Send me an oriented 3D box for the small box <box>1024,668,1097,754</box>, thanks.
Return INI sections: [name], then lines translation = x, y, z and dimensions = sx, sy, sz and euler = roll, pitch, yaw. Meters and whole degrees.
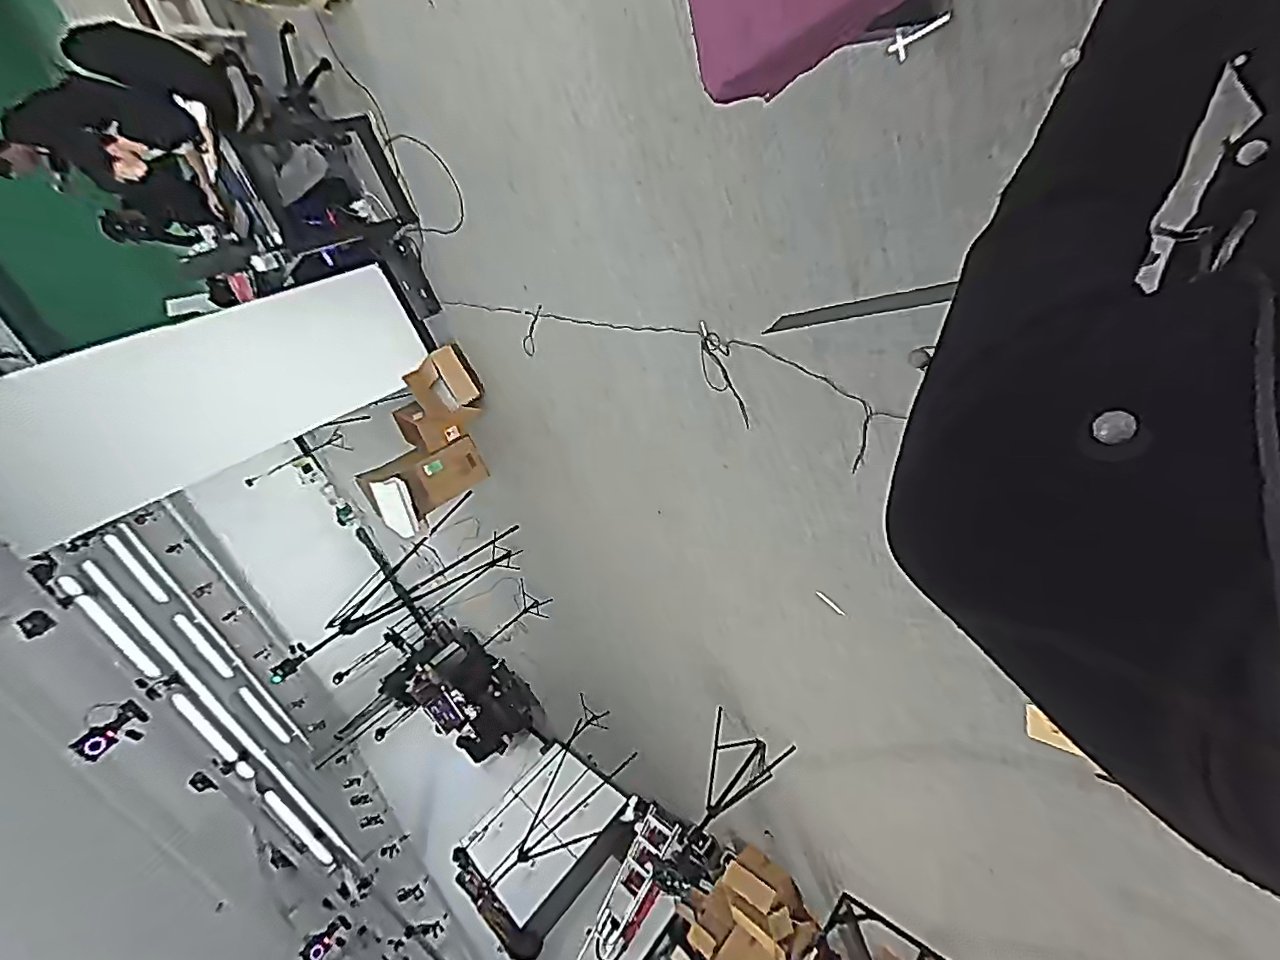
[small box]
translation = 1.428, 0.776, 1.836
dimensions = 0.168, 0.176, 0.179
euler = 9, 129, 48
